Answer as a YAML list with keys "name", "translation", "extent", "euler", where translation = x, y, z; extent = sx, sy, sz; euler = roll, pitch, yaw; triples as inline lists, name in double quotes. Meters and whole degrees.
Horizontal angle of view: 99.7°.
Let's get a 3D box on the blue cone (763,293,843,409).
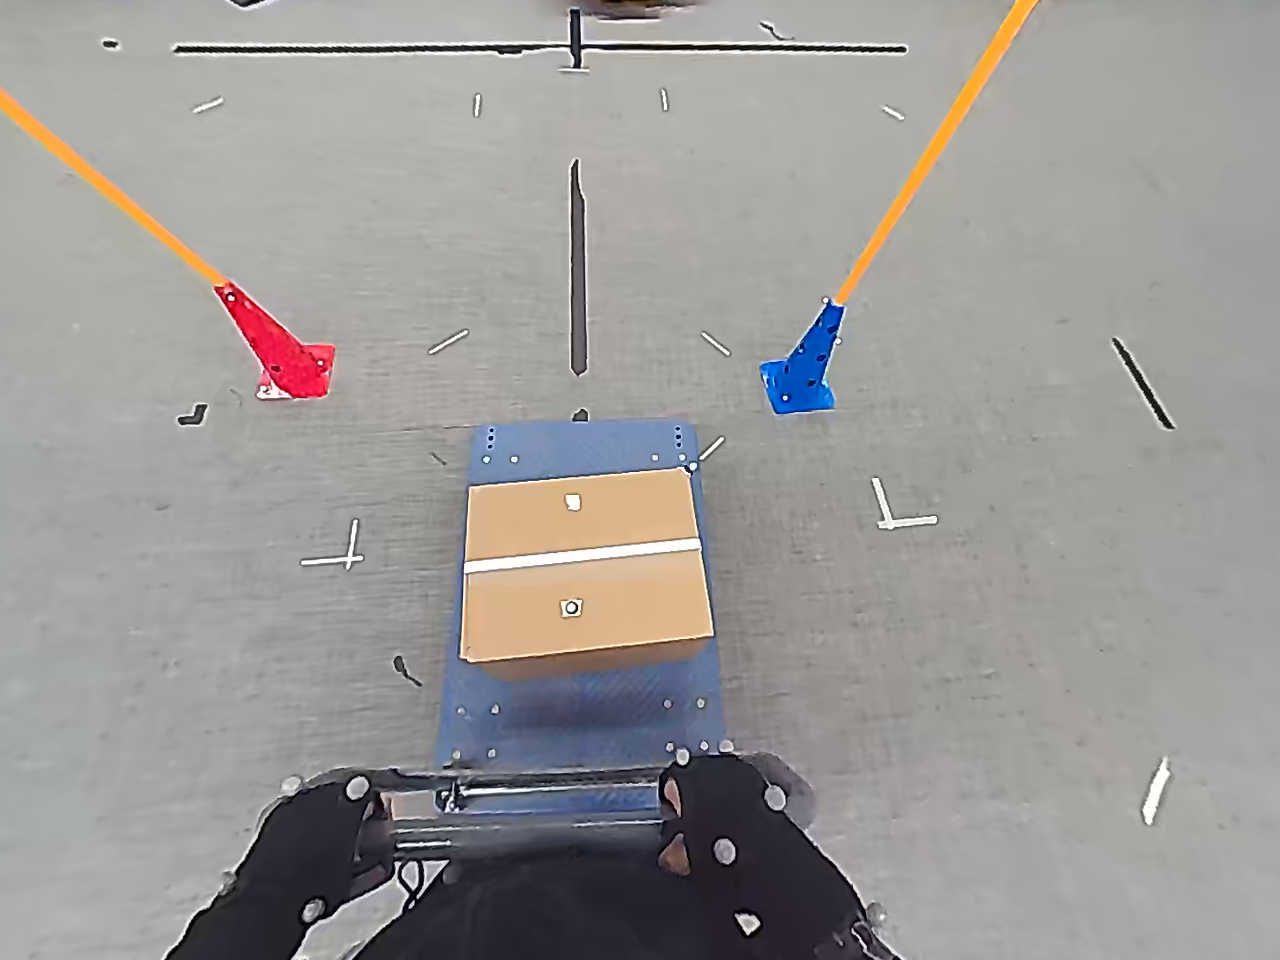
- name: "blue cone"
  translation: [0.504, -0.379, 1.559]
  extent: [0.193, 0.380, 0.192]
  euler: [-6, 63, -6]
